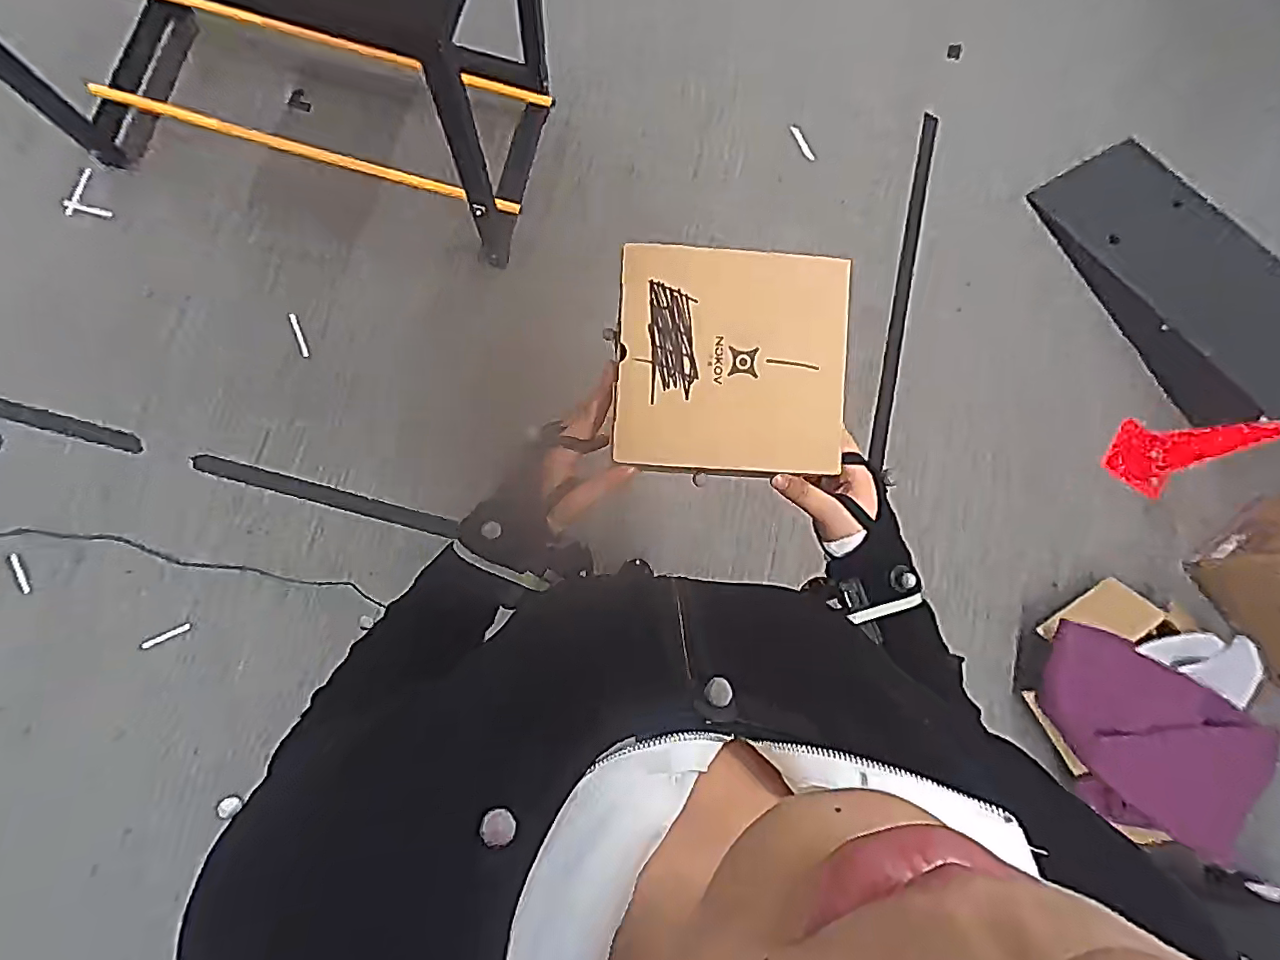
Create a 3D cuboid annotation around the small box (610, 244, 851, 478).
[{"bbox_3d":[0.065,-0.089,0.483,0.179,0.176,0.168,3,90,-4],"label":"small box"}]
